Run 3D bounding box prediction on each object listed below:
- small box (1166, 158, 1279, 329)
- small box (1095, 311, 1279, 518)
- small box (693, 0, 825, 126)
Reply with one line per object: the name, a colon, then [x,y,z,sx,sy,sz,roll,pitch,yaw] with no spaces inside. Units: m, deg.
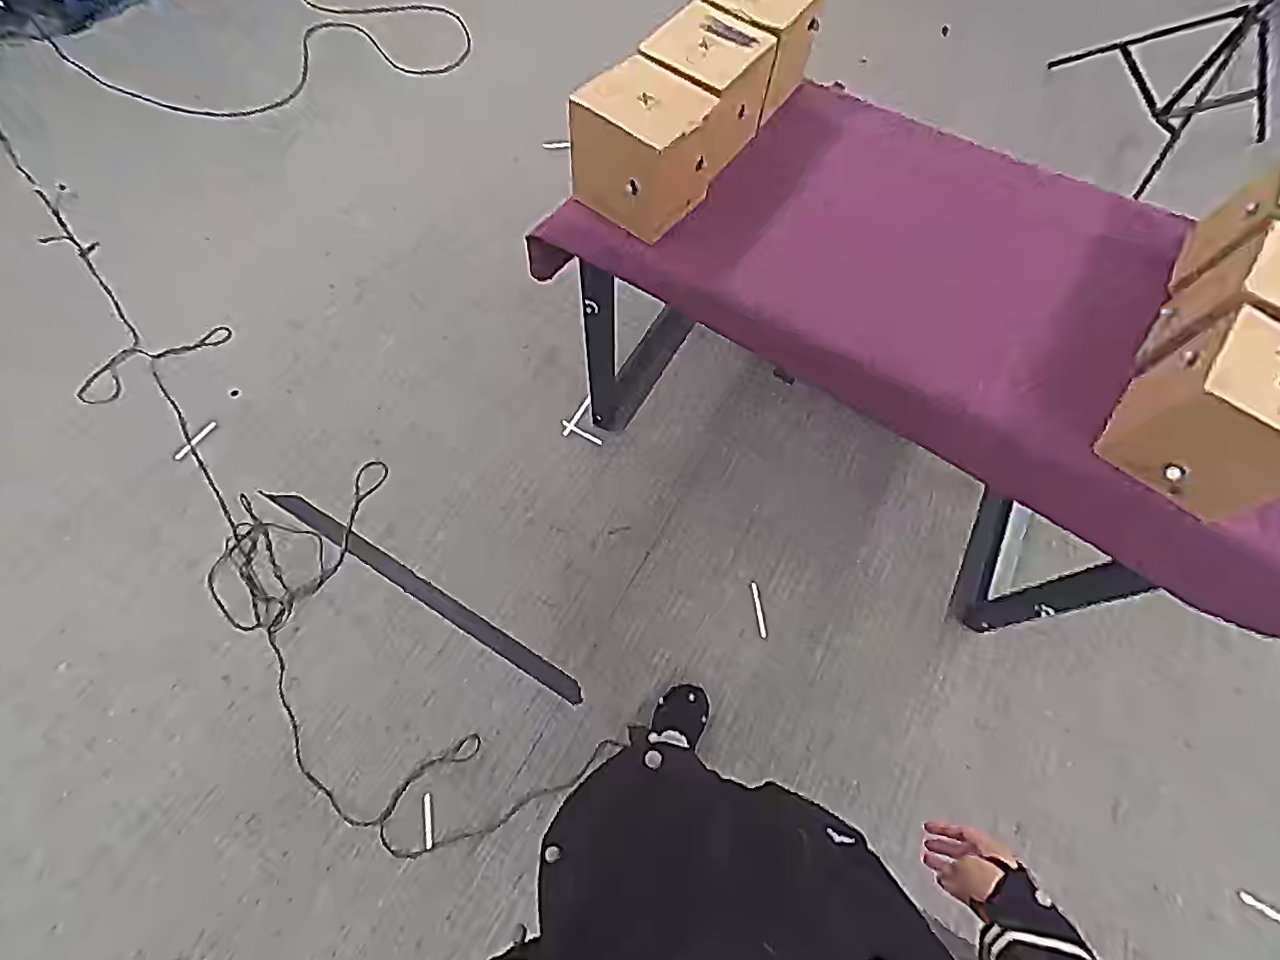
small box: [1.000,-0.366,0.857,0.168,0.176,0.179,33,68,10]
small box: [0.772,-0.081,0.724,0.168,0.176,0.179,40,70,15]
small box: [0.213,-0.815,1.010,0.168,0.176,0.179,33,70,11]
